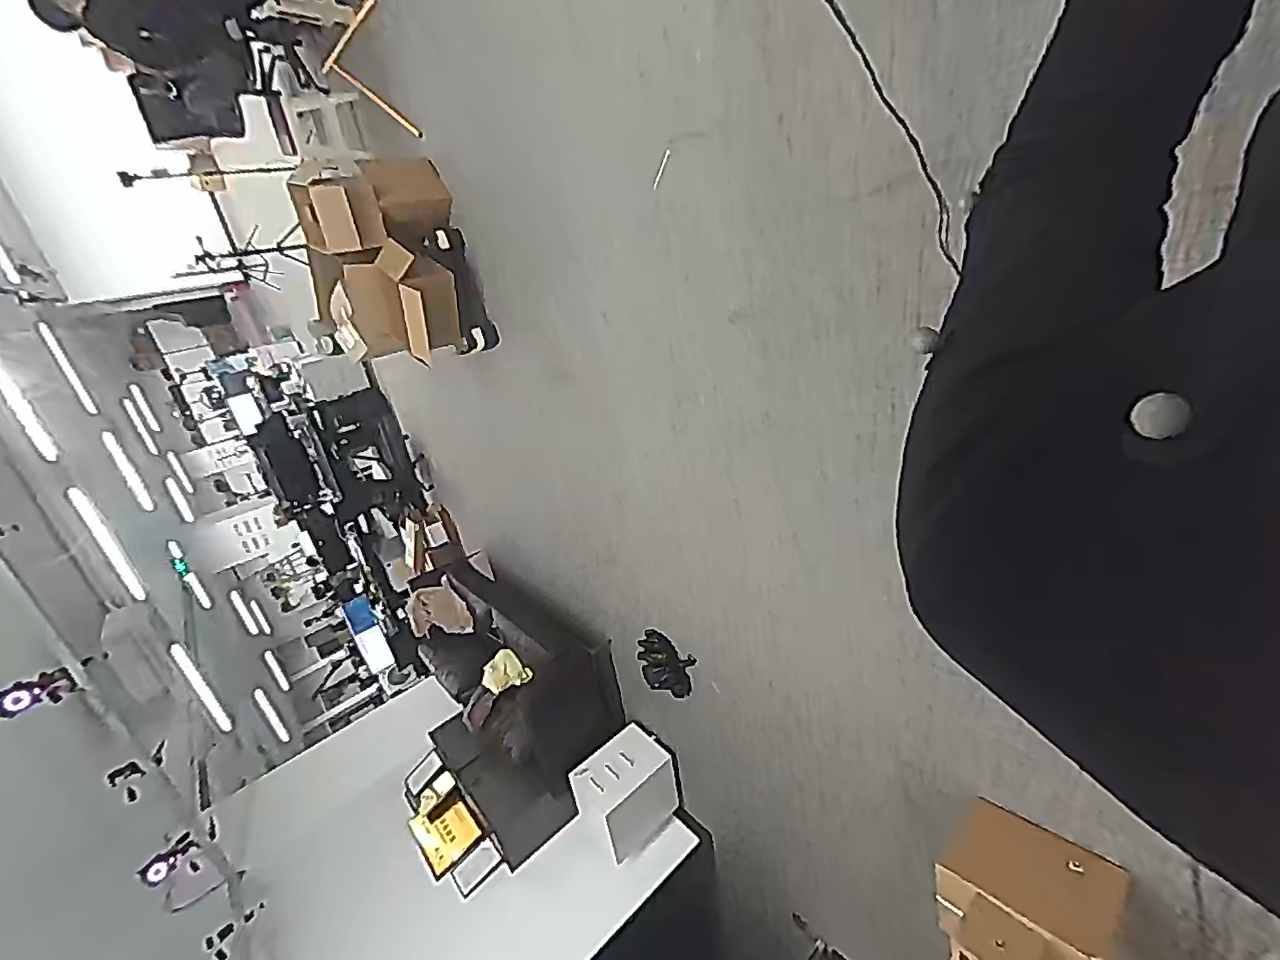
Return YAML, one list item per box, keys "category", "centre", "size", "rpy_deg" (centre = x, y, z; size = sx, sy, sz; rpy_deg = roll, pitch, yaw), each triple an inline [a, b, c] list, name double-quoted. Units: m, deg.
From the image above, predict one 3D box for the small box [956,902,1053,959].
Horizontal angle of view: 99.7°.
- category: "small box"
  centre: [1.000, 1.319, 1.488]
  size: [0.179, 0.176, 0.168]
  rpy_deg: [16, 123, 48]
